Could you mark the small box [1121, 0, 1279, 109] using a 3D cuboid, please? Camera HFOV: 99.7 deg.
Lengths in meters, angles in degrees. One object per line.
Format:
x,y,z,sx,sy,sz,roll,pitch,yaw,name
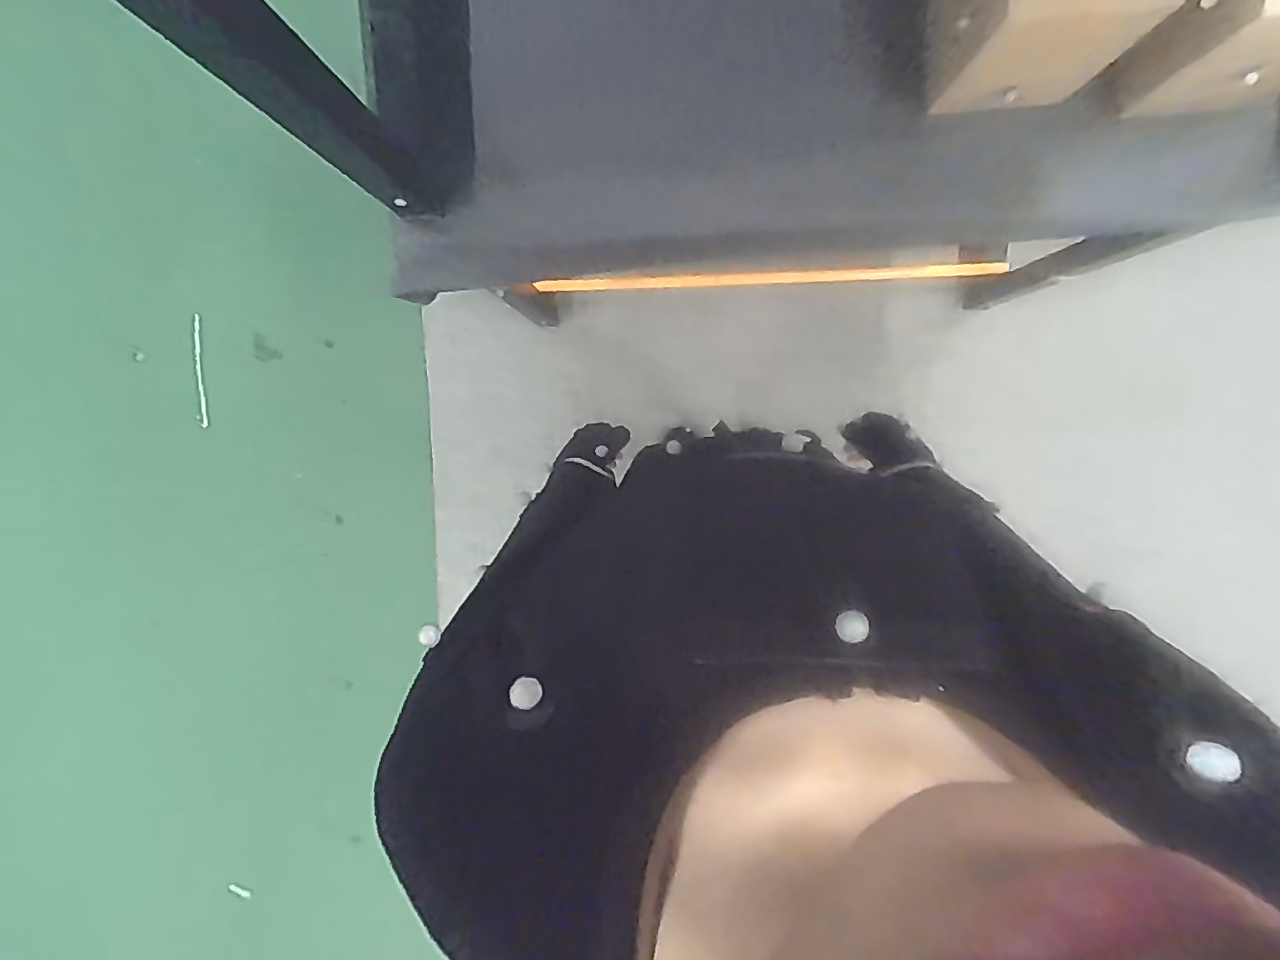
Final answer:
0.667,-0.531,0.579,0.168,0.176,0.179,-3,95,4,small box
